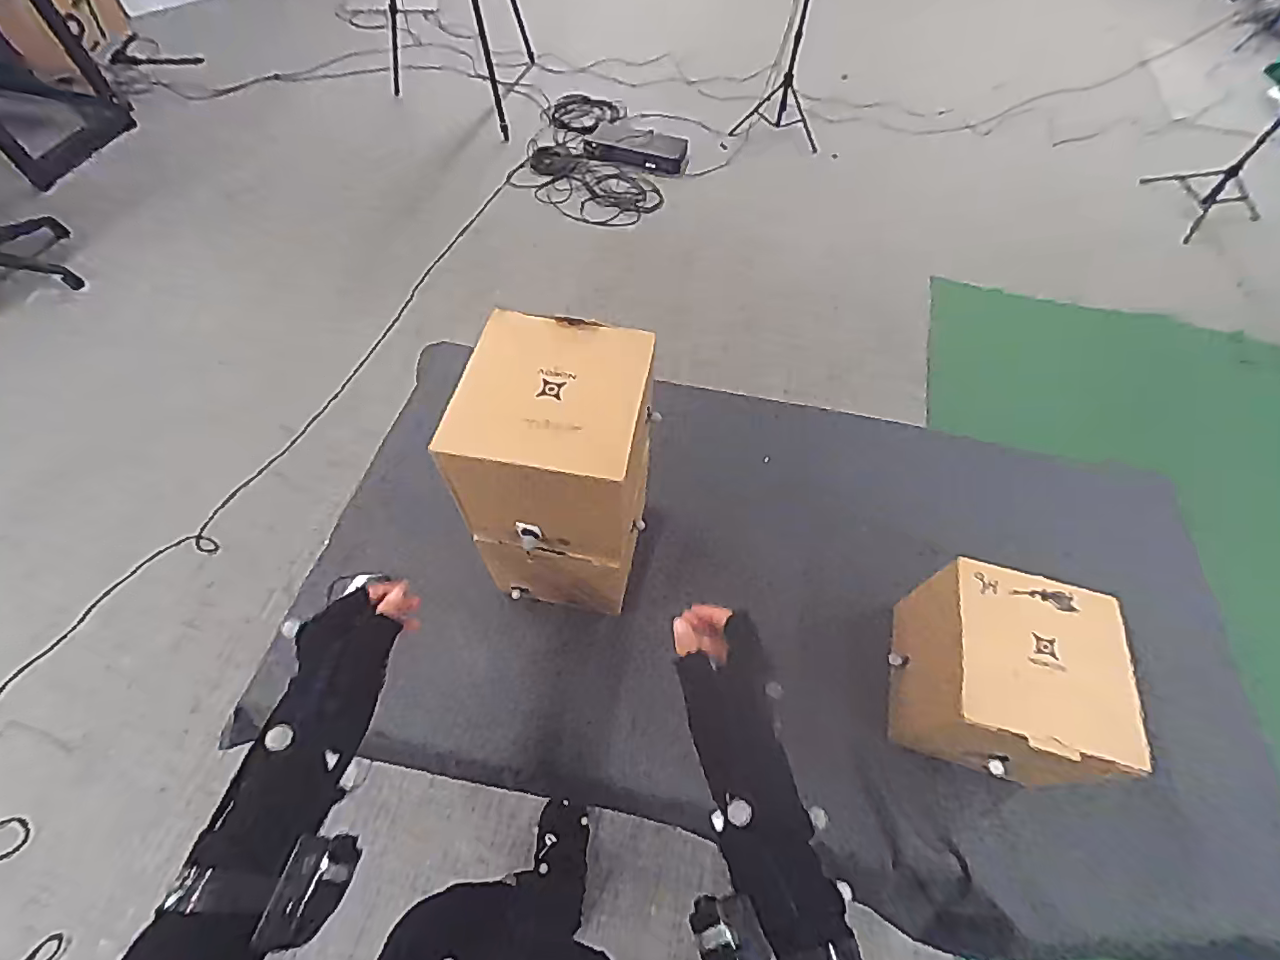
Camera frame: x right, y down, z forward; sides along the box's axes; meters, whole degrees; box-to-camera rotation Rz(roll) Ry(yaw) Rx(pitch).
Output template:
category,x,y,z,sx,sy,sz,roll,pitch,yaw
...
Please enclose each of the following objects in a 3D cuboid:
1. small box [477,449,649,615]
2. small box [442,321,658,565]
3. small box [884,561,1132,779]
category,x,y,z,sx,sy,sz,roll,pitch,yaw
small box,-0.087,0.056,0.696,0.168,0.176,0.179,11,57,3
small box,-0.079,-0.033,0.561,0.168,0.176,0.179,8,58,3
small box,0.396,0.223,0.617,0.168,0.176,0.179,15,58,6
